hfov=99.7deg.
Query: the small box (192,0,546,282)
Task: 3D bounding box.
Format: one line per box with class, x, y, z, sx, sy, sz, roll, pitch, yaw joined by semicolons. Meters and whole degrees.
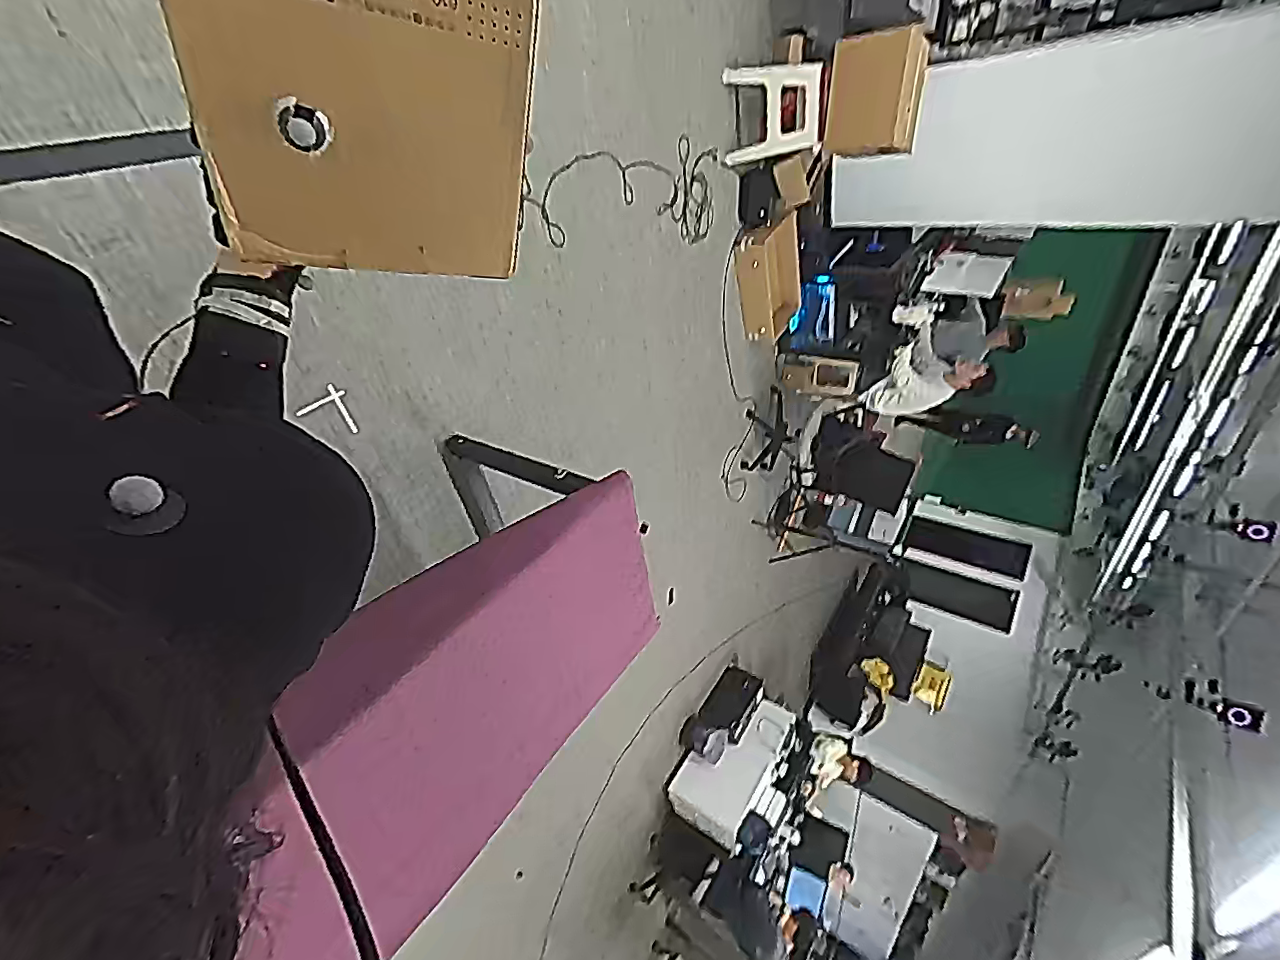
small box;-0.166;-0.250;0.345;0.168;0.179;0.176;-5;136;-27
